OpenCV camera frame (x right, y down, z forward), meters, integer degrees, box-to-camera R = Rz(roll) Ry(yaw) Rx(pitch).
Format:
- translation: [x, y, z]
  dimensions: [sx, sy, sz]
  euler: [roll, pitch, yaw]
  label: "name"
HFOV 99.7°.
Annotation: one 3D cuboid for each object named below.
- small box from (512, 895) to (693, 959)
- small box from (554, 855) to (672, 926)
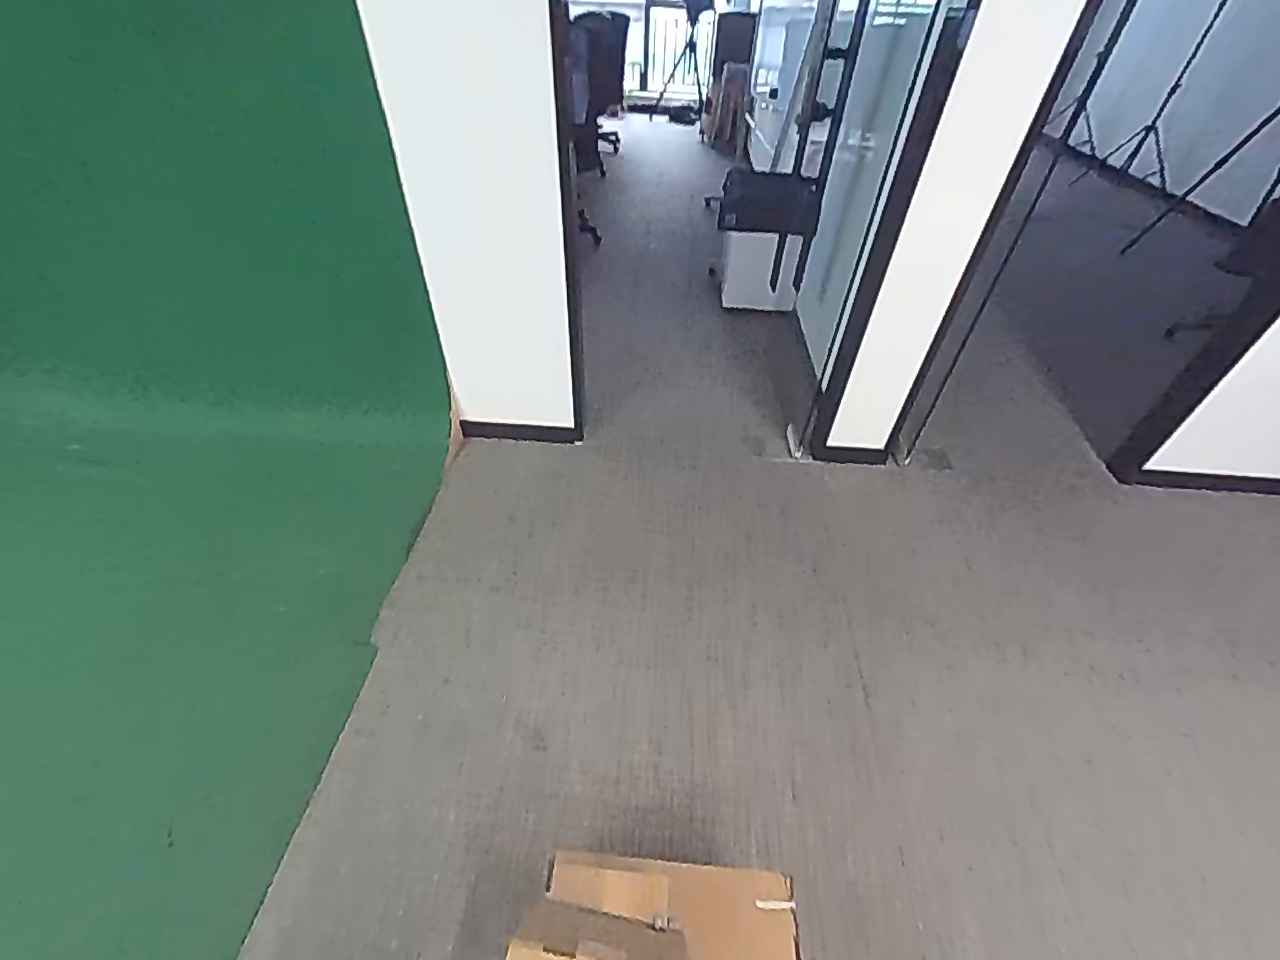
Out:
- translation: [-0.044, 0.519, 0.500]
  dimensions: [0.168, 0.176, 0.179]
  euler: [9, 65, 6]
  label: "small box"
- translation: [-0.045, 0.670, 0.769]
  dimensions: [0.168, 0.176, 0.179]
  euler: [4, 40, 3]
  label: "small box"
